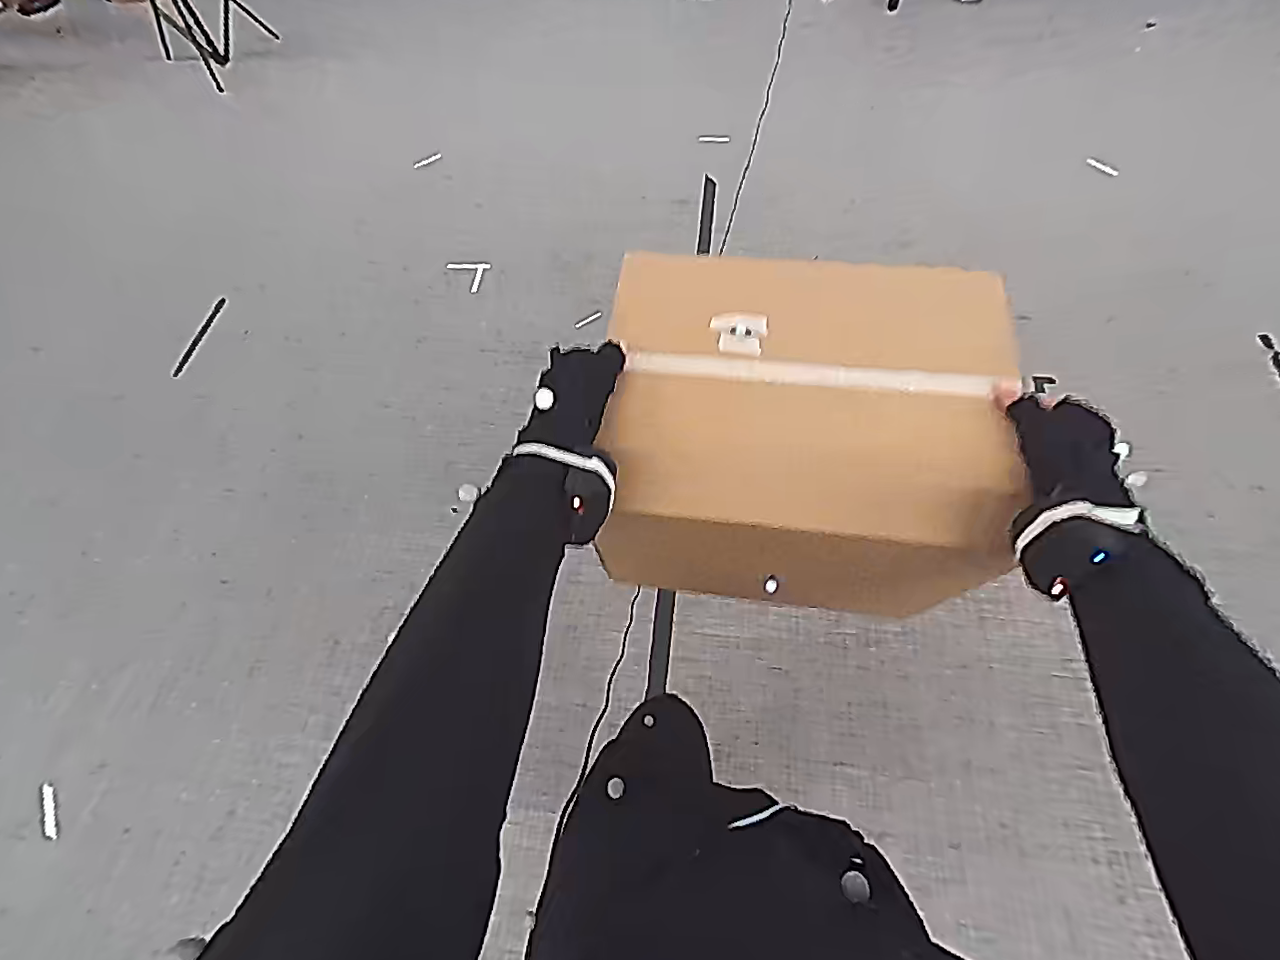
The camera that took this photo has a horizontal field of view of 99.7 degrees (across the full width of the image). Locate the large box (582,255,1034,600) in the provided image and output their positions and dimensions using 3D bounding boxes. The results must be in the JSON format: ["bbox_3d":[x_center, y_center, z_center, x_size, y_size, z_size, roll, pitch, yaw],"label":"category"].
[{"bbox_3d":[0.175,-0.047,0.677,0.408,0.320,0.320,5,66,8],"label":"large box"}]
